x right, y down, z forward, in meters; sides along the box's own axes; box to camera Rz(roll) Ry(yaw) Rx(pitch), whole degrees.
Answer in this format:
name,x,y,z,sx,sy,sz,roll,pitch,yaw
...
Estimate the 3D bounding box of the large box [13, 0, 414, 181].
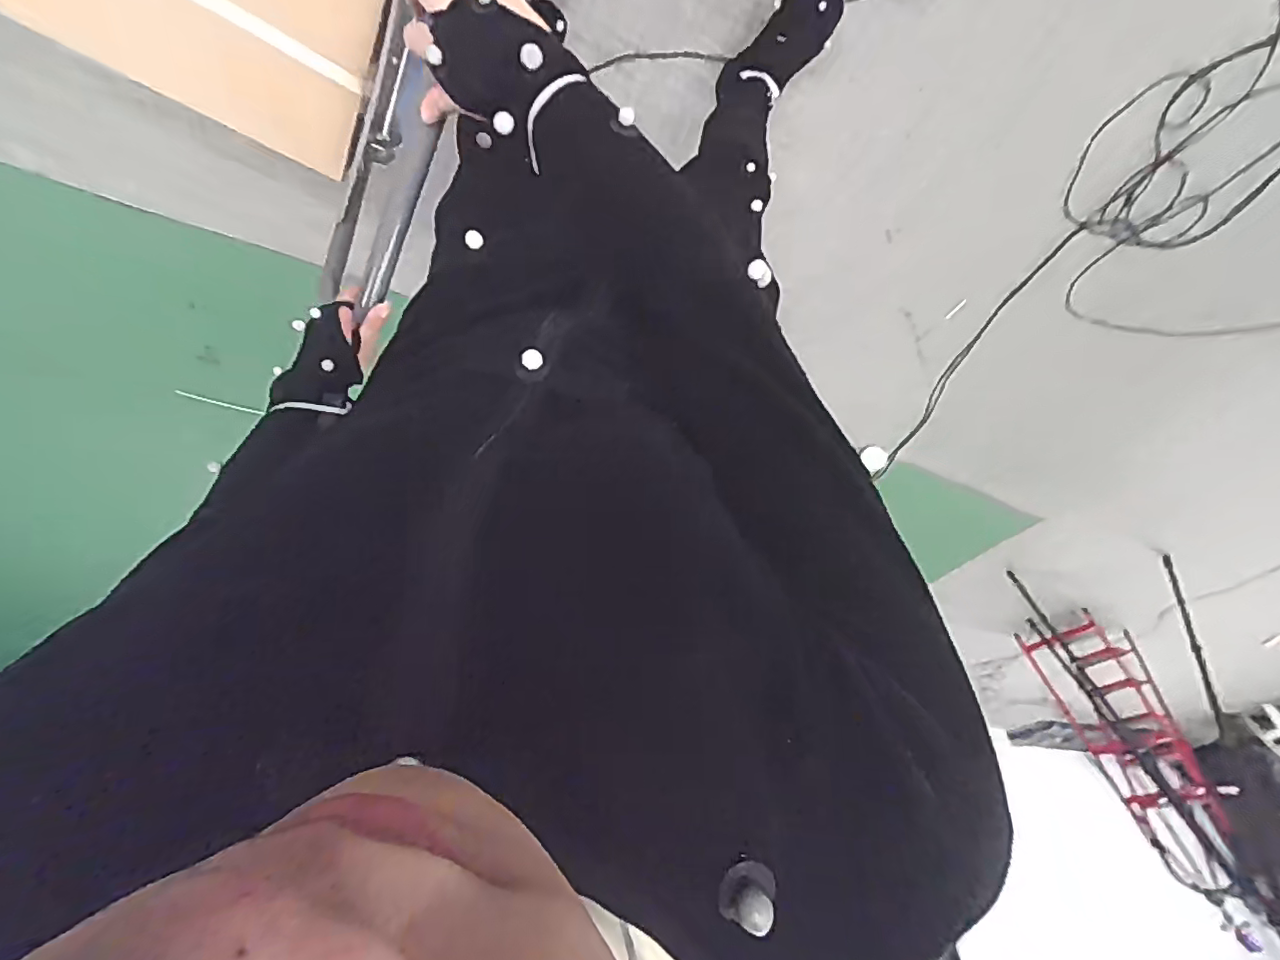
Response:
name,x,y,z,sx,sy,sz,roll,pitch,yaw
large box,-0.568,-0.738,0.783,0.408,0.320,0.320,18,135,-29
